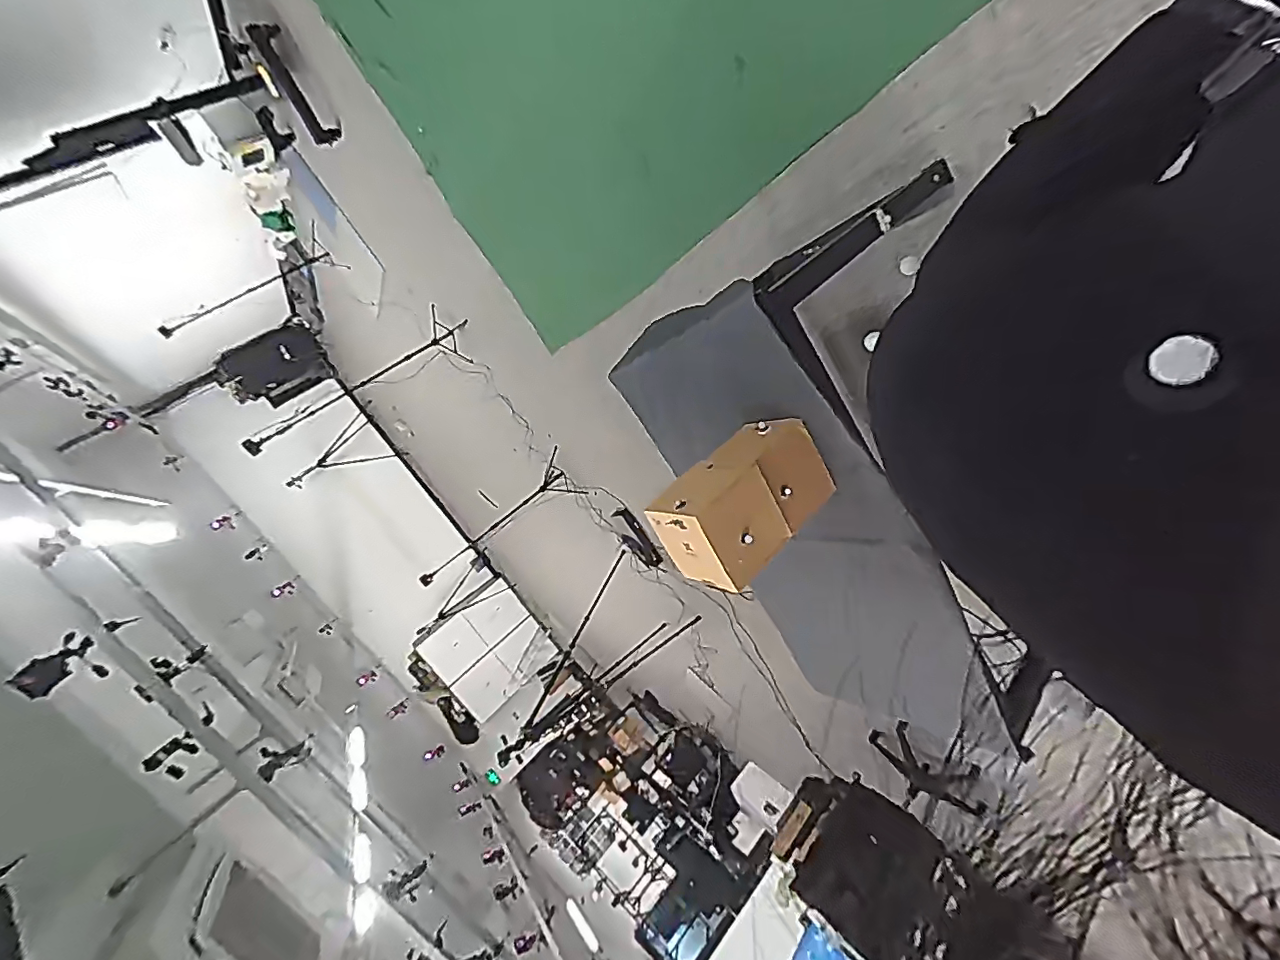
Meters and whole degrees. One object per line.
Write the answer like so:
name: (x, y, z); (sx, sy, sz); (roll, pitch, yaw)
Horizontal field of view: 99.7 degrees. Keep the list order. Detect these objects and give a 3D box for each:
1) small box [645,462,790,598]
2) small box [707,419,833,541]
small box: (0.148, 0.086, 1.010); (0.168, 0.176, 0.179); (2, 128, 57)
small box: (0.259, -0.001, 1.097); (0.168, 0.176, 0.179); (-3, 123, 59)
